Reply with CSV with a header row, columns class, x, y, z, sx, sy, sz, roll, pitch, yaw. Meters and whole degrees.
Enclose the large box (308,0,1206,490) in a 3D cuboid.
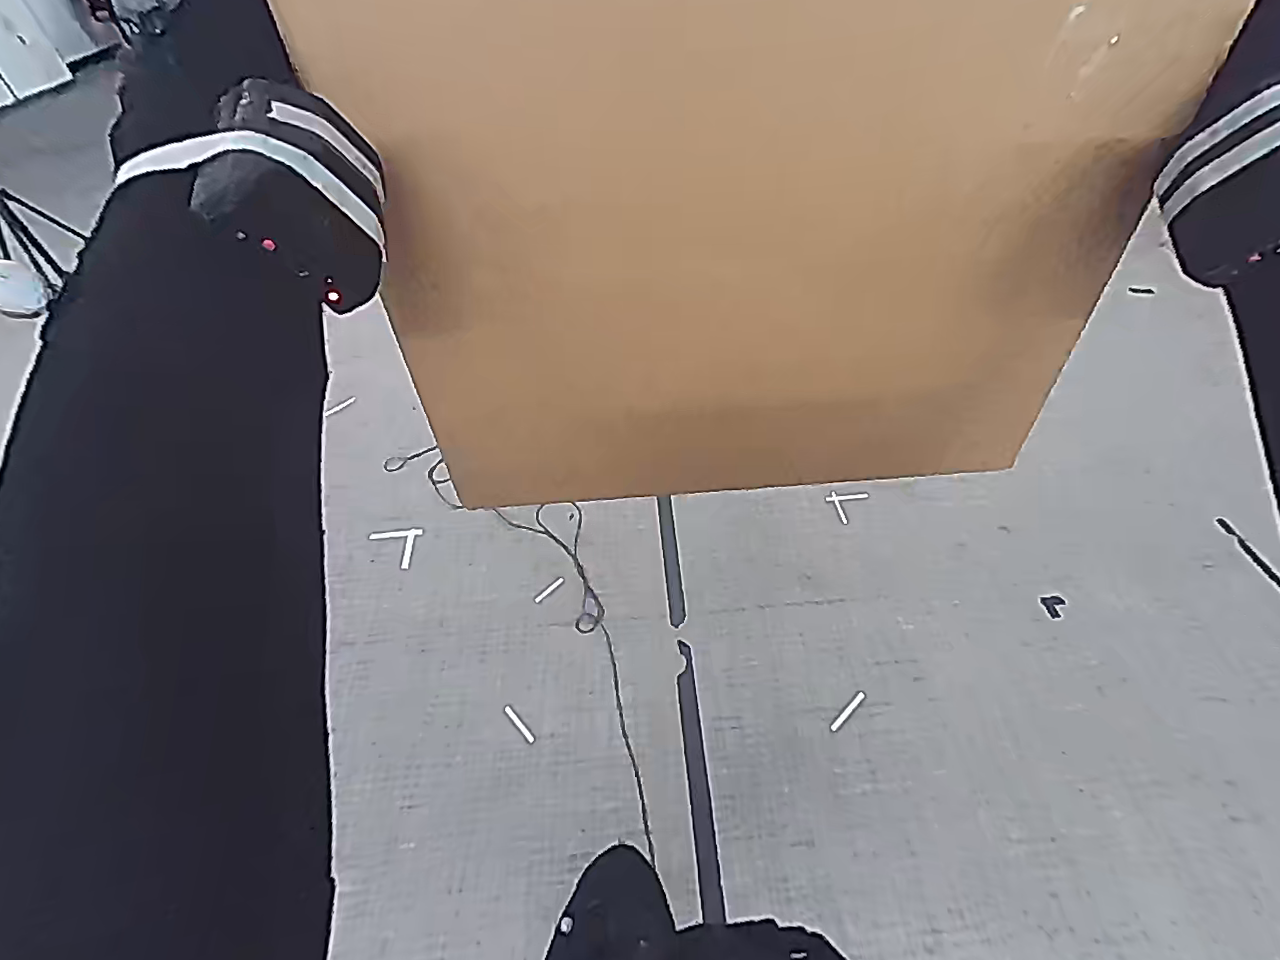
class,x,y,z,sx,sy,sz,roll,pitch,yaw
large box,0.052,-0.214,0.416,0.408,0.320,0.320,-4,42,-1
